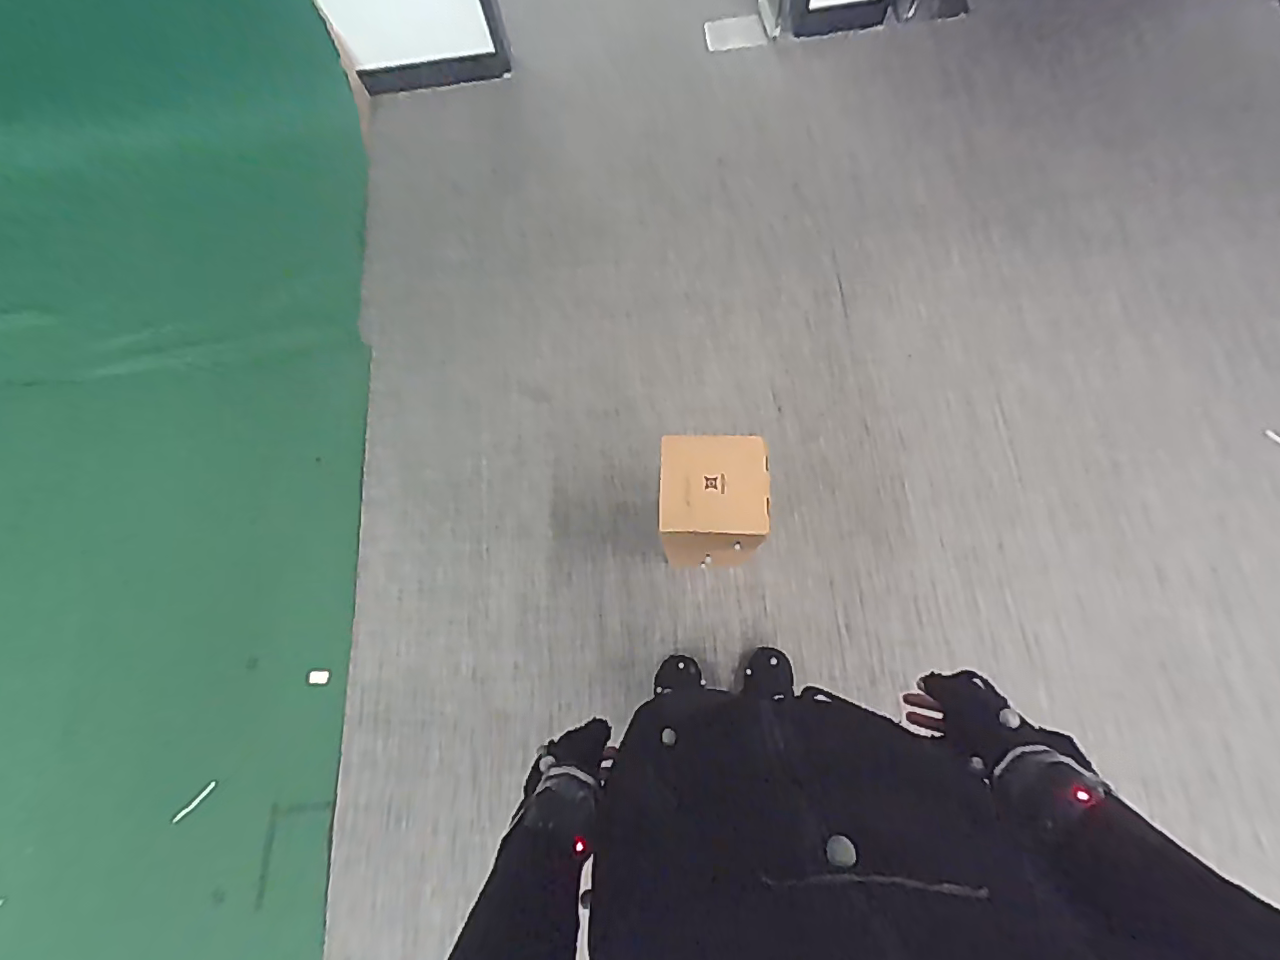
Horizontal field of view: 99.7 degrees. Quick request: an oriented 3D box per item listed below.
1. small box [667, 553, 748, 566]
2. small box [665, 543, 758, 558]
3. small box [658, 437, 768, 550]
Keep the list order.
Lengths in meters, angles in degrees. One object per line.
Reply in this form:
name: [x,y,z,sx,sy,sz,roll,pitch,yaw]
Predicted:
small box: [0.154,0.110,1.267,0.179,0.176,0.168,0,75,6]
small box: [0.140,0.069,1.112,0.179,0.176,0.168,-2,76,5]
small box: [0.125,0.030,0.953,0.179,0.176,0.168,0,74,6]
